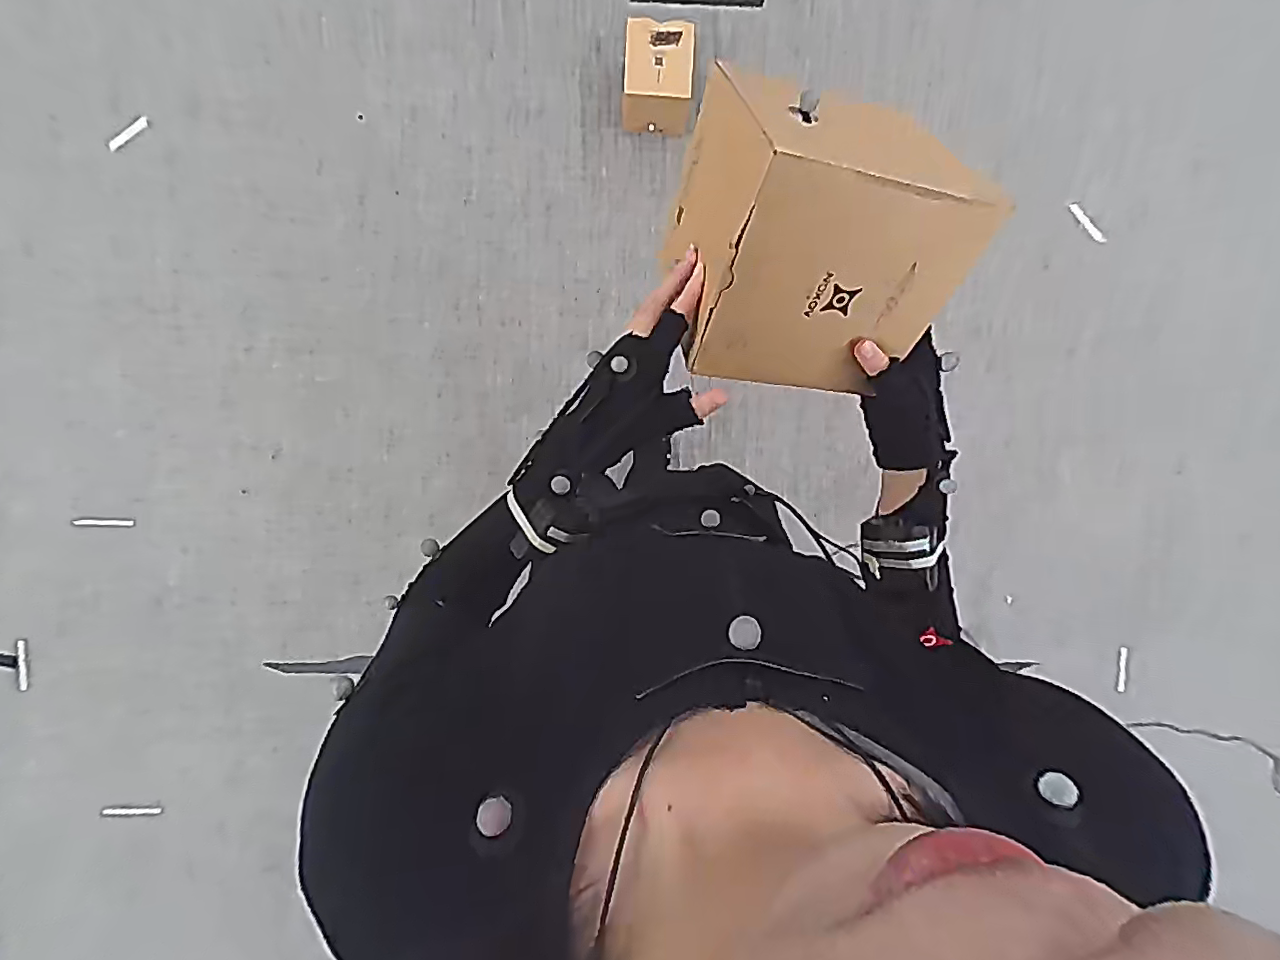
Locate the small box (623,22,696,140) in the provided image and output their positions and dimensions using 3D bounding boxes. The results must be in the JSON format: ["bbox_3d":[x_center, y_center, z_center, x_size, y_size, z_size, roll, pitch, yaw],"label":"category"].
[{"bbox_3d":[0.045,-1.014,1.385,0.168,0.176,0.179,3,94,-3],"label":"small box"}]

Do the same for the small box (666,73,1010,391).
[{"bbox_3d":[0.130,-0.196,0.436,0.179,0.168,0.176,2,51,-15],"label":"small box"}]
